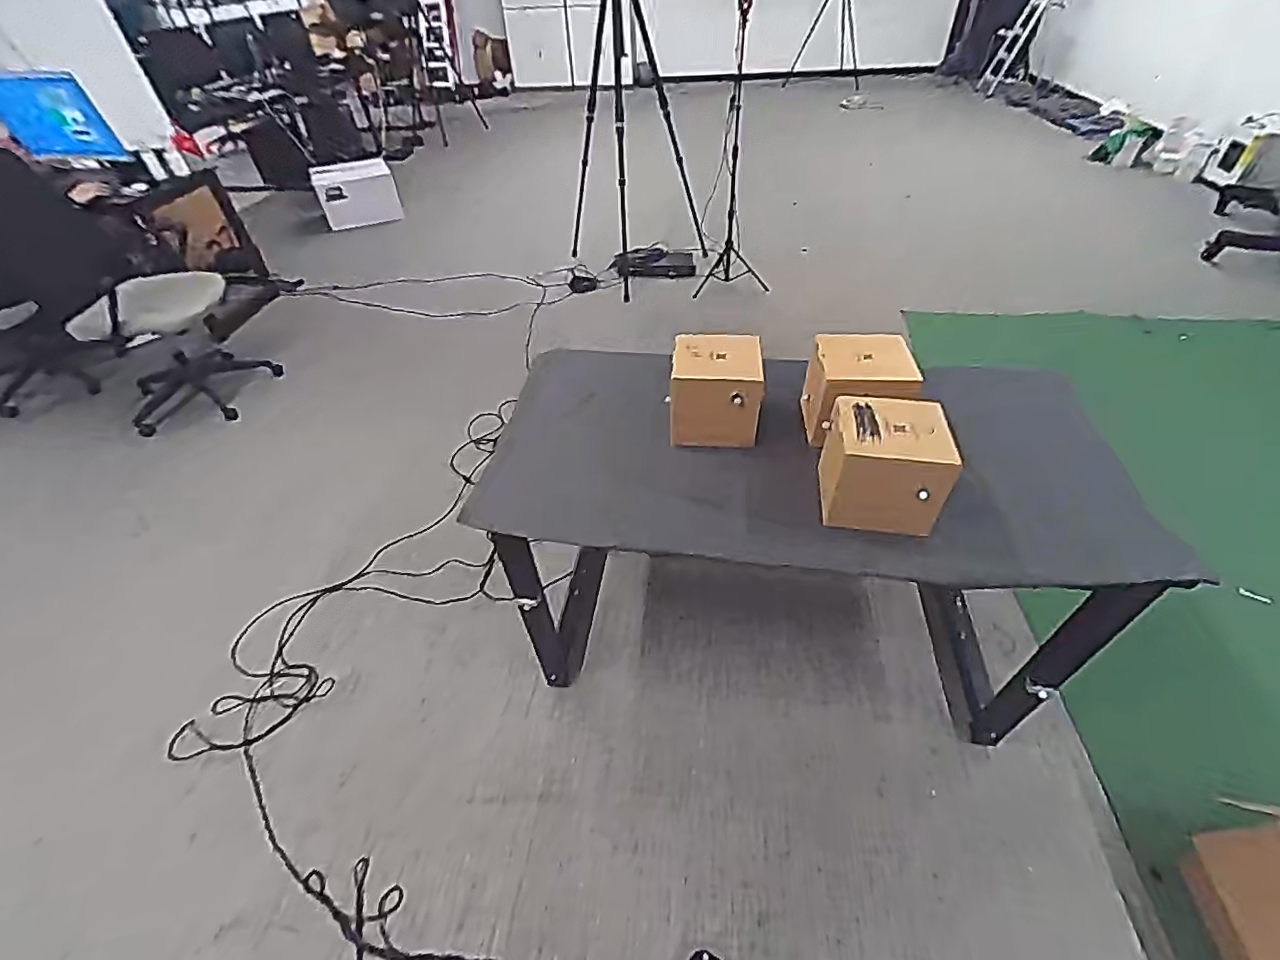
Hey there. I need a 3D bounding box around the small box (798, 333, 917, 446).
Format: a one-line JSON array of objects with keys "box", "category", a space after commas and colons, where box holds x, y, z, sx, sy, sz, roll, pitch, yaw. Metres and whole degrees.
[{"box": [0.432, -0.182, 1.104, 0.179, 0.176, 0.168, 1, 45, 6], "category": "small box"}]

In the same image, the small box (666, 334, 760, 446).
[{"box": [0.147, -0.185, 1.122, 0.179, 0.176, 0.168, 2, 44, 6], "category": "small box"}]
